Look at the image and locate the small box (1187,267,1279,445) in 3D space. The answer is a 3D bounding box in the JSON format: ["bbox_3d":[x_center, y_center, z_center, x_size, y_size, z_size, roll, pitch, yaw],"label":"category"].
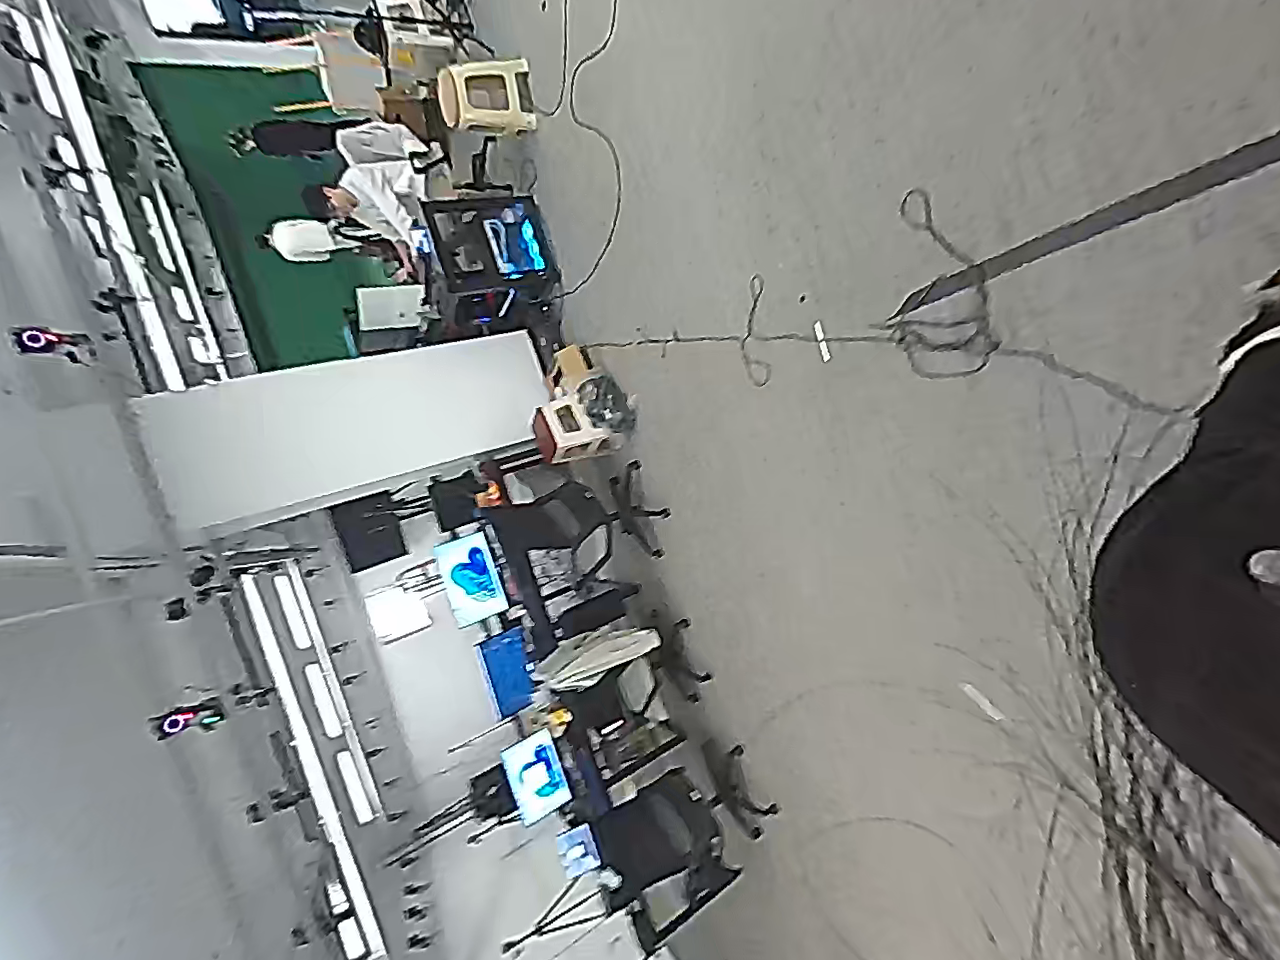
[{"bbox_3d":[0.629,-0.122,0.449,0.176,0.168,0.179,44,166,38],"label":"small box"}]
